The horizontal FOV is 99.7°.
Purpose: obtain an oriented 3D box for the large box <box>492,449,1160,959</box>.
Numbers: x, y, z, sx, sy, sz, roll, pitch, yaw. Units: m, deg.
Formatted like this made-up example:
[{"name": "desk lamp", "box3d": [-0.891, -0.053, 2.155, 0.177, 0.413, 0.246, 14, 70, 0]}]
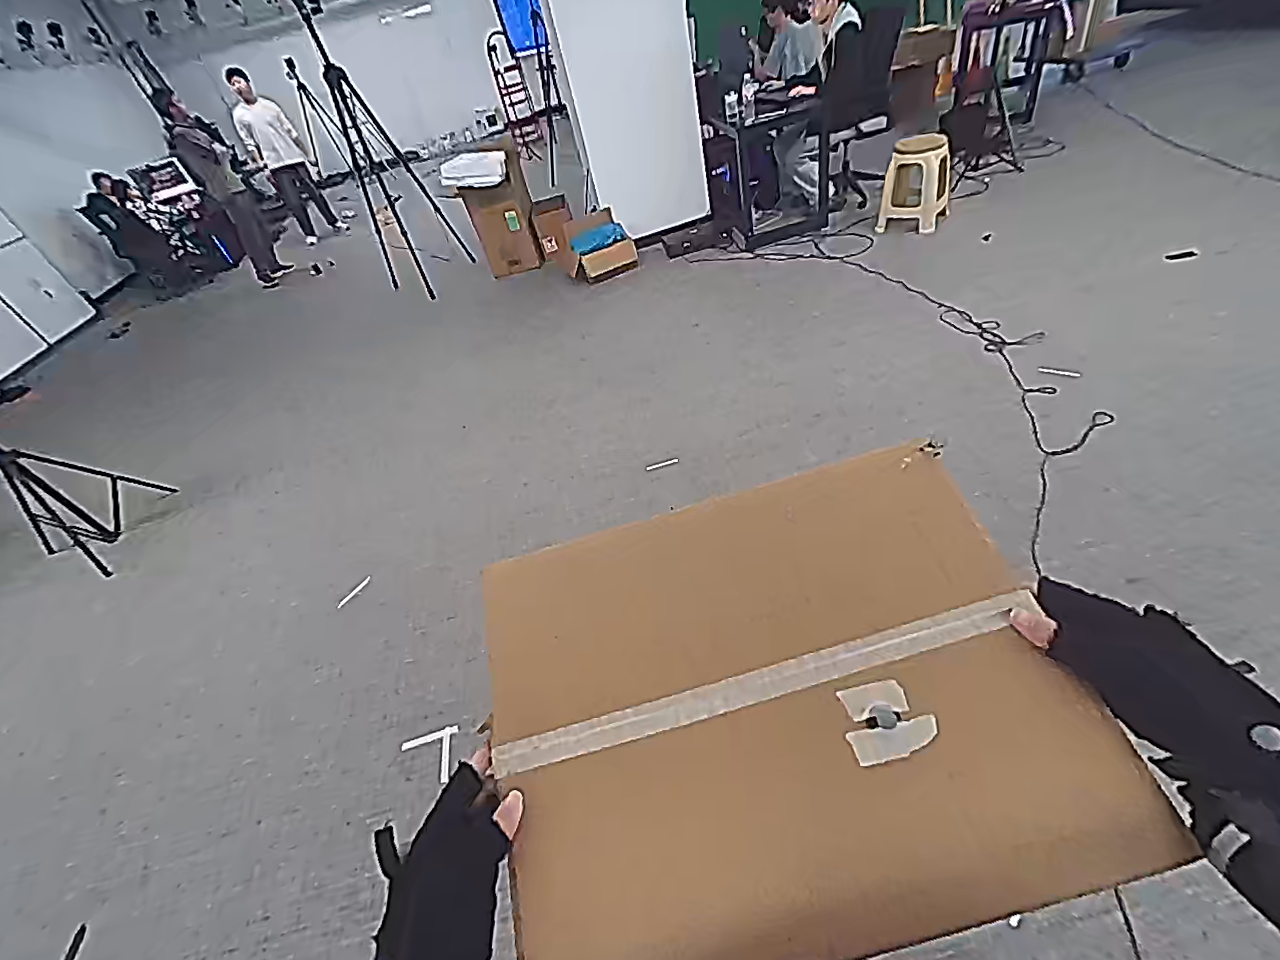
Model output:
[{"name": "large box", "box3d": [0.115, 0.229, 0.532, 0.408, 0.320, 0.320, -17, 59, 0]}]
